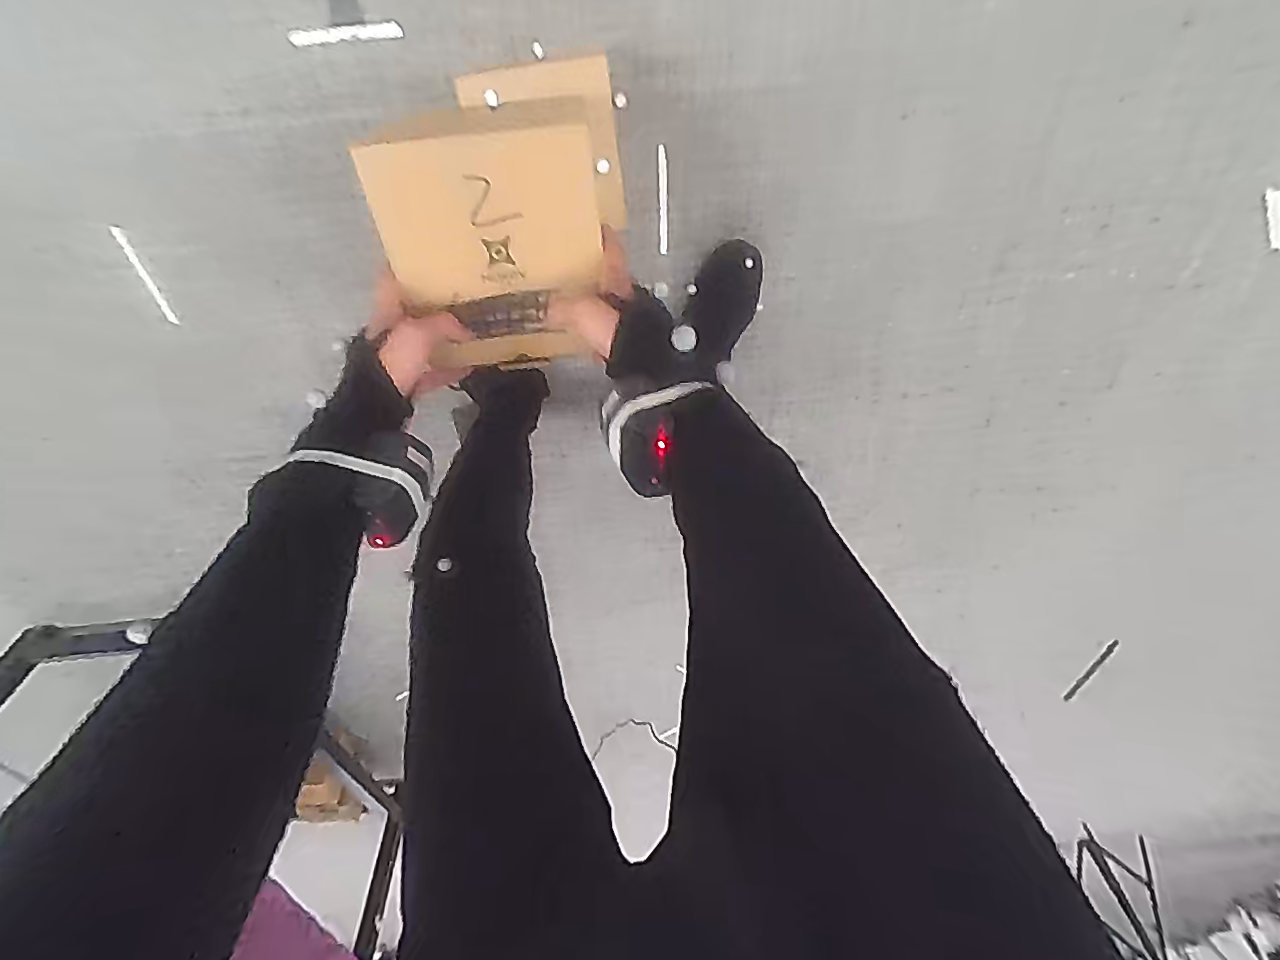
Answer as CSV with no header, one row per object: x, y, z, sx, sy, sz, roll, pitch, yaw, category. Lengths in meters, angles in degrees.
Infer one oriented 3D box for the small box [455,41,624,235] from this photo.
-0.114,-0.433,0.679,0.168,0.176,0.179,-7,133,1,small box
